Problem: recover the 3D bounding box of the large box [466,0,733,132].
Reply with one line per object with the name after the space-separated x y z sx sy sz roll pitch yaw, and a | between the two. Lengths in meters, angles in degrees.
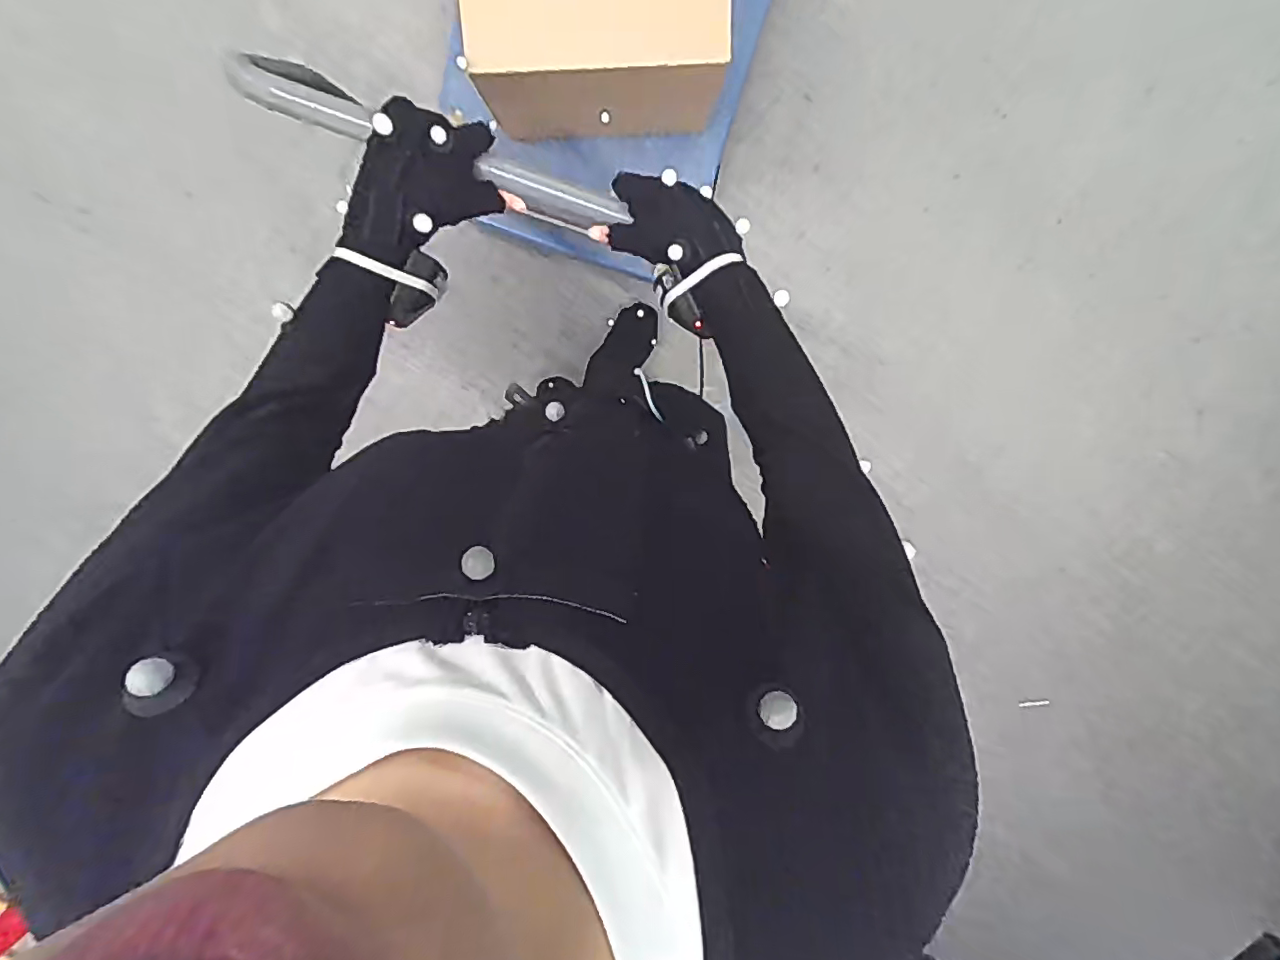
-0.064 -0.826 0.925 0.408 0.320 0.320 -3 105 0 | large box
